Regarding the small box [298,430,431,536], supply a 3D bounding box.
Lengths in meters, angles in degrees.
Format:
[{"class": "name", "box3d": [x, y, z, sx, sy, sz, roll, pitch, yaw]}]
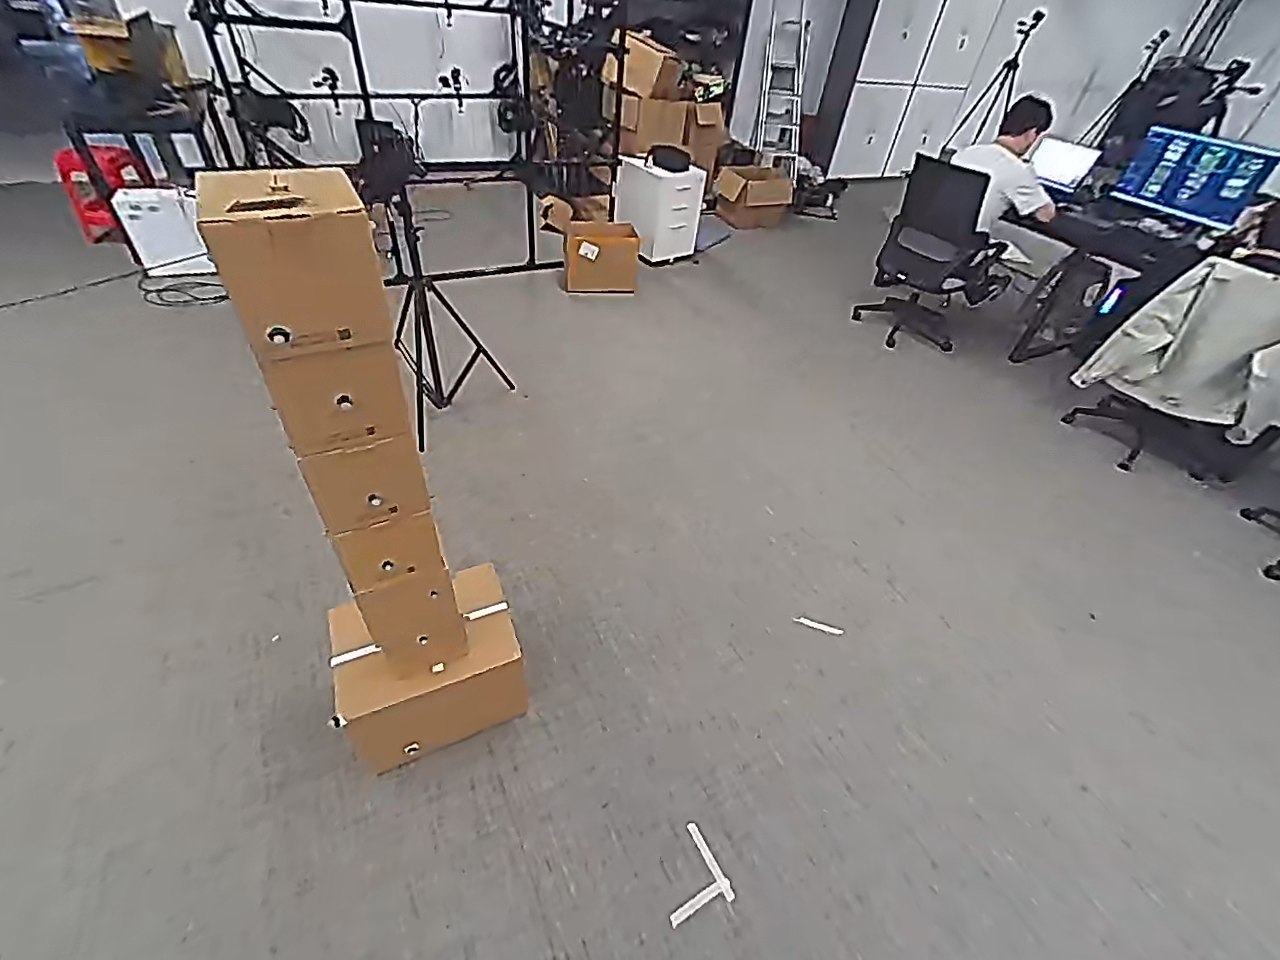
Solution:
[{"class": "small box", "box3d": [-0.471, -0.035, 0.923, 0.168, 0.176, 0.179, -18, 49, -24]}]

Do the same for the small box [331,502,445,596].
[{"class": "small box", "box3d": [-0.484, 0.087, 1.033, 0.168, 0.176, 0.179, -16, 48, -24]}]

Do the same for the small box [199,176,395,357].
[{"class": "small box", "box3d": [-0.433, -0.272, 0.699, 0.168, 0.176, 0.179, -18, 48, -25]}]

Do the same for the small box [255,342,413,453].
[{"class": "small box", "box3d": [-0.457, -0.158, 0.816, 0.168, 0.176, 0.179, -17, 49, -25]}]

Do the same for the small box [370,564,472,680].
[{"class": "small box", "box3d": [-0.502, 0.331, 1.250, 0.179, 0.176, 0.168, -16, 48, -25]}]
